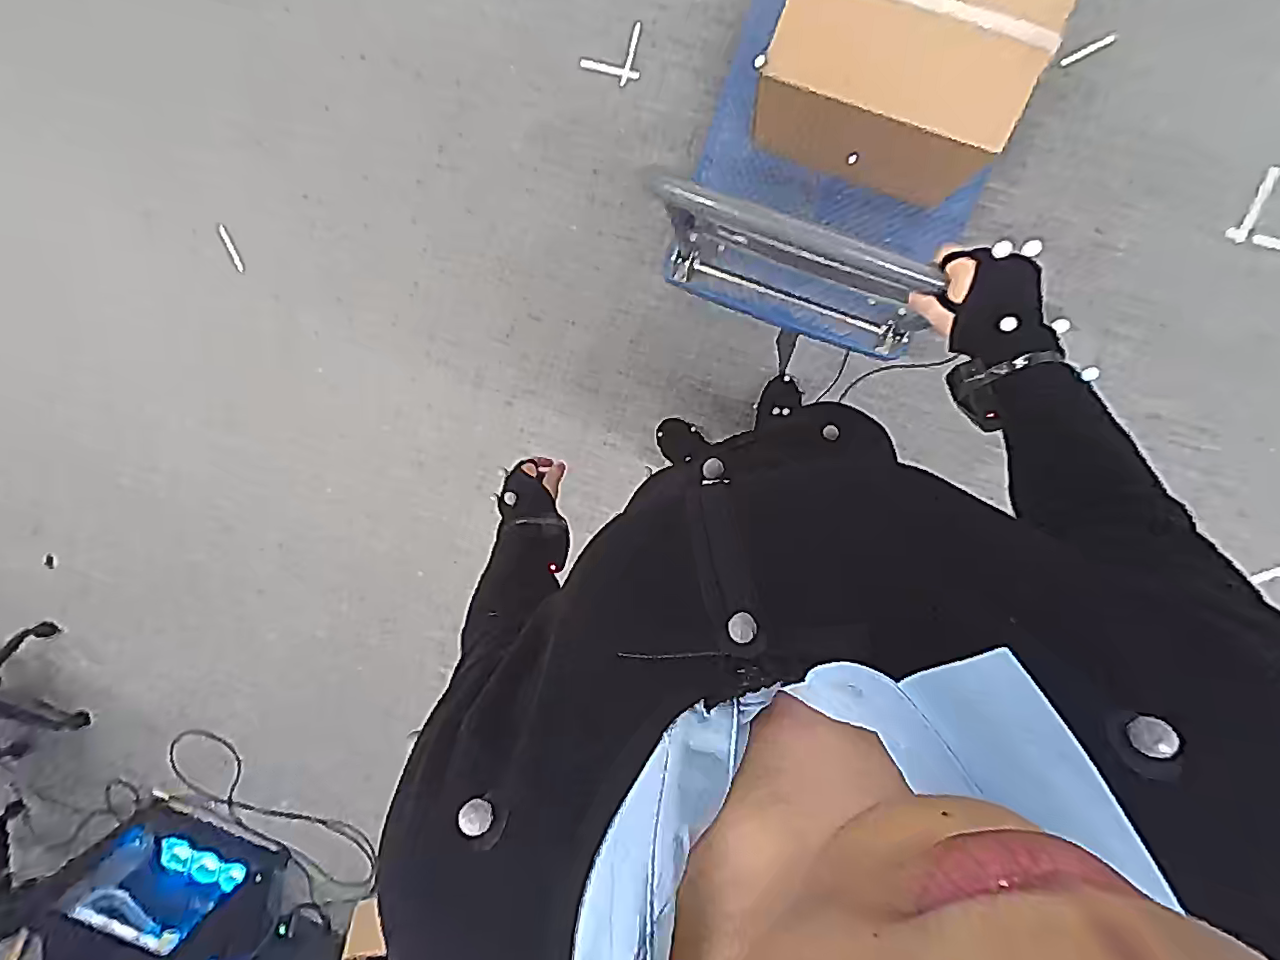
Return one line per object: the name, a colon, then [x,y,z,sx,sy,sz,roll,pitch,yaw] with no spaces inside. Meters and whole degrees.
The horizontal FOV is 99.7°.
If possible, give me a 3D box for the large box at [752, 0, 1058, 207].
large box: [0.453,-0.758,0.997,0.408,0.320,0.320,22,103,5]
